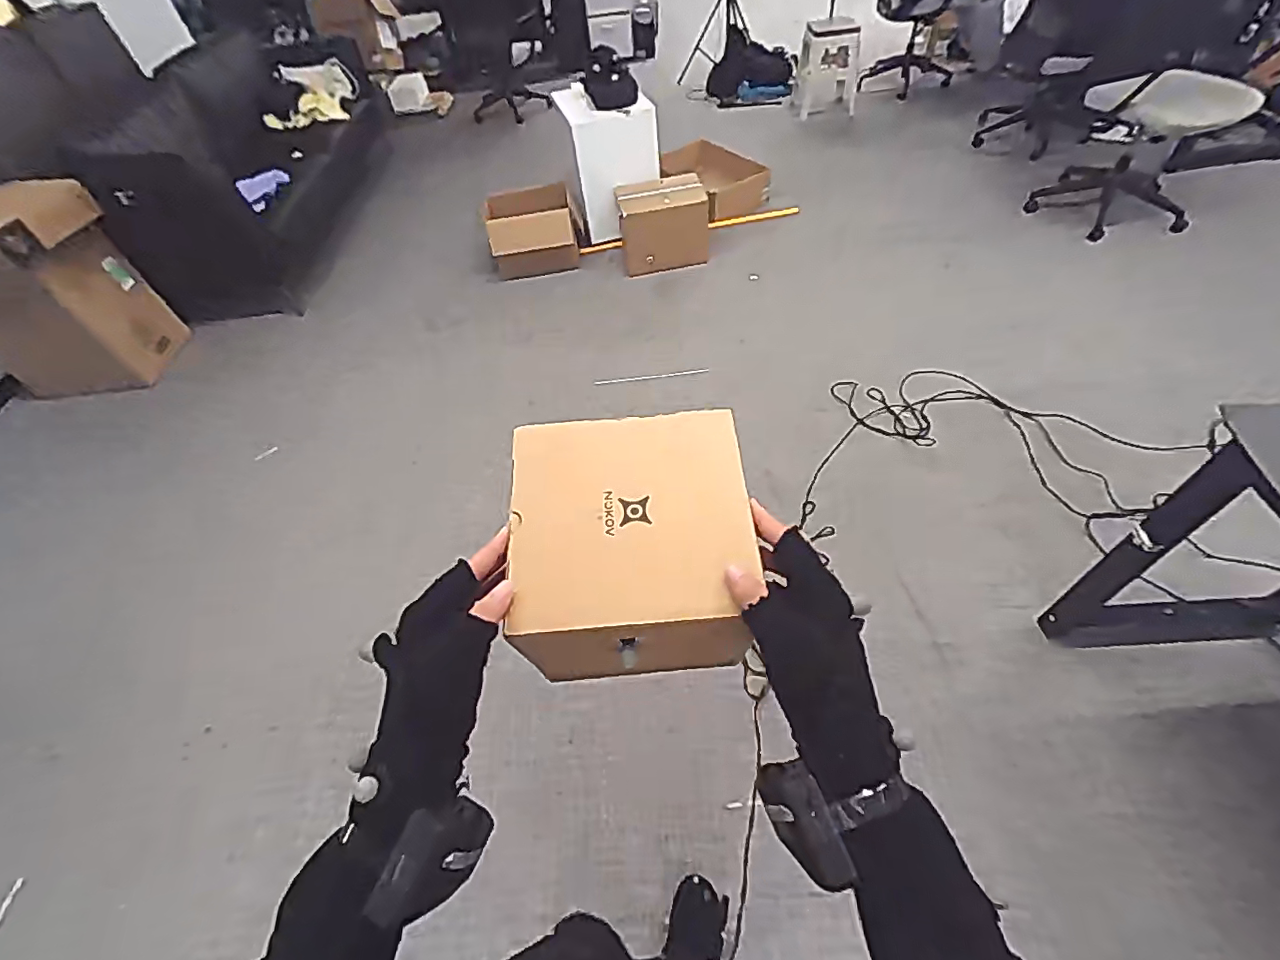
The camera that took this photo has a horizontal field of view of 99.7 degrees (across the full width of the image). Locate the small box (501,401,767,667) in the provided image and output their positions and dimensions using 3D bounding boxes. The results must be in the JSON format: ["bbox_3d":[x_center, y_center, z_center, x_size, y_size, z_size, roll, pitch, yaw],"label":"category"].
[{"bbox_3d":[-0.006,0.055,0.456,0.179,0.176,0.168,-6,61,1],"label":"small box"}]
